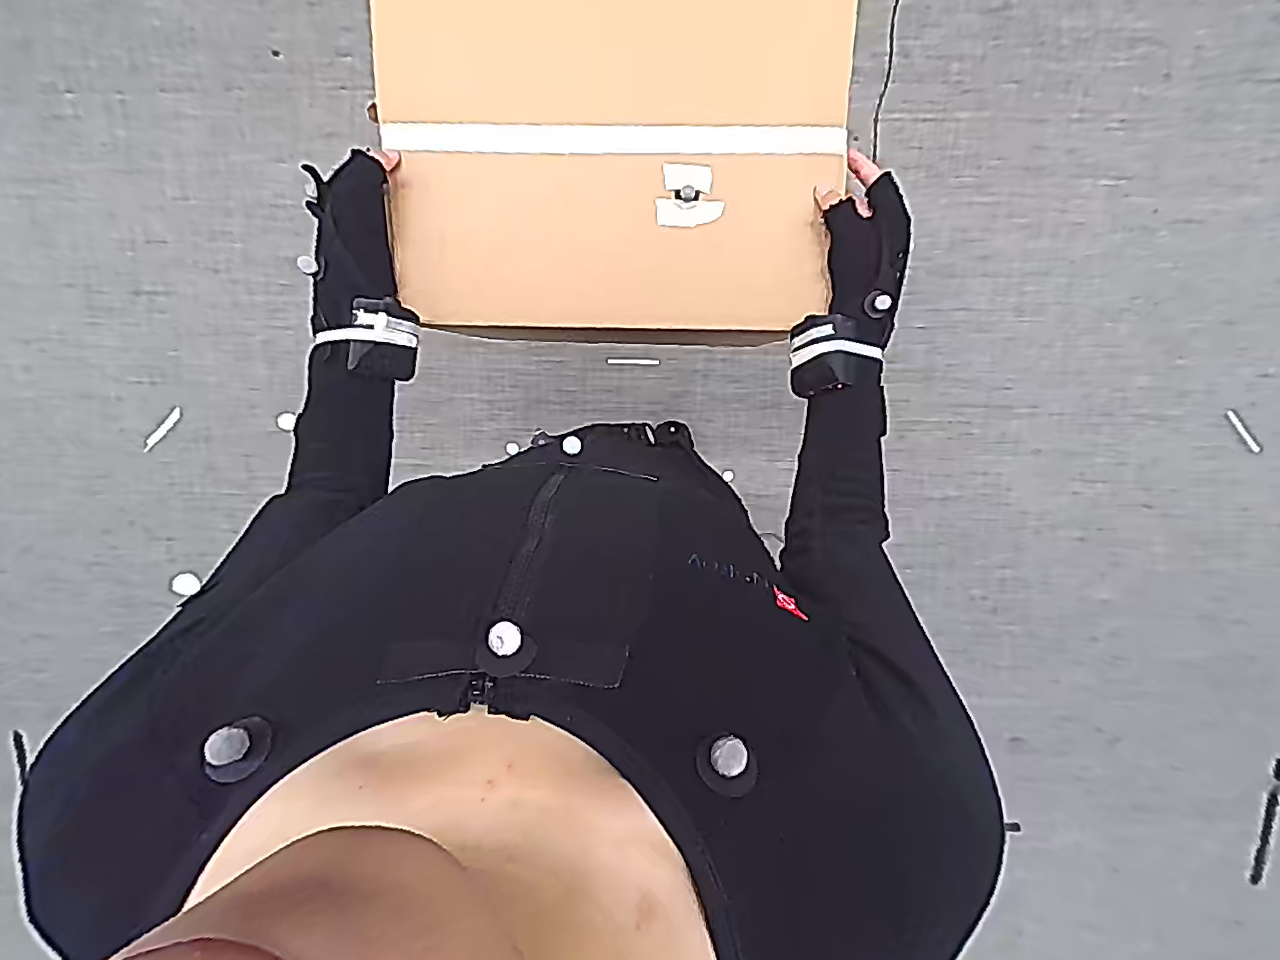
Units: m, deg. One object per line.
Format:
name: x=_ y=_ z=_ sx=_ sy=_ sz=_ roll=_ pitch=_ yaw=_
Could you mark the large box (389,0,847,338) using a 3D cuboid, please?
large box: x=-0.021 y=-0.336 z=0.636 sx=0.408 sy=0.320 sz=0.320 roll=1 pitch=103 yaw=0
